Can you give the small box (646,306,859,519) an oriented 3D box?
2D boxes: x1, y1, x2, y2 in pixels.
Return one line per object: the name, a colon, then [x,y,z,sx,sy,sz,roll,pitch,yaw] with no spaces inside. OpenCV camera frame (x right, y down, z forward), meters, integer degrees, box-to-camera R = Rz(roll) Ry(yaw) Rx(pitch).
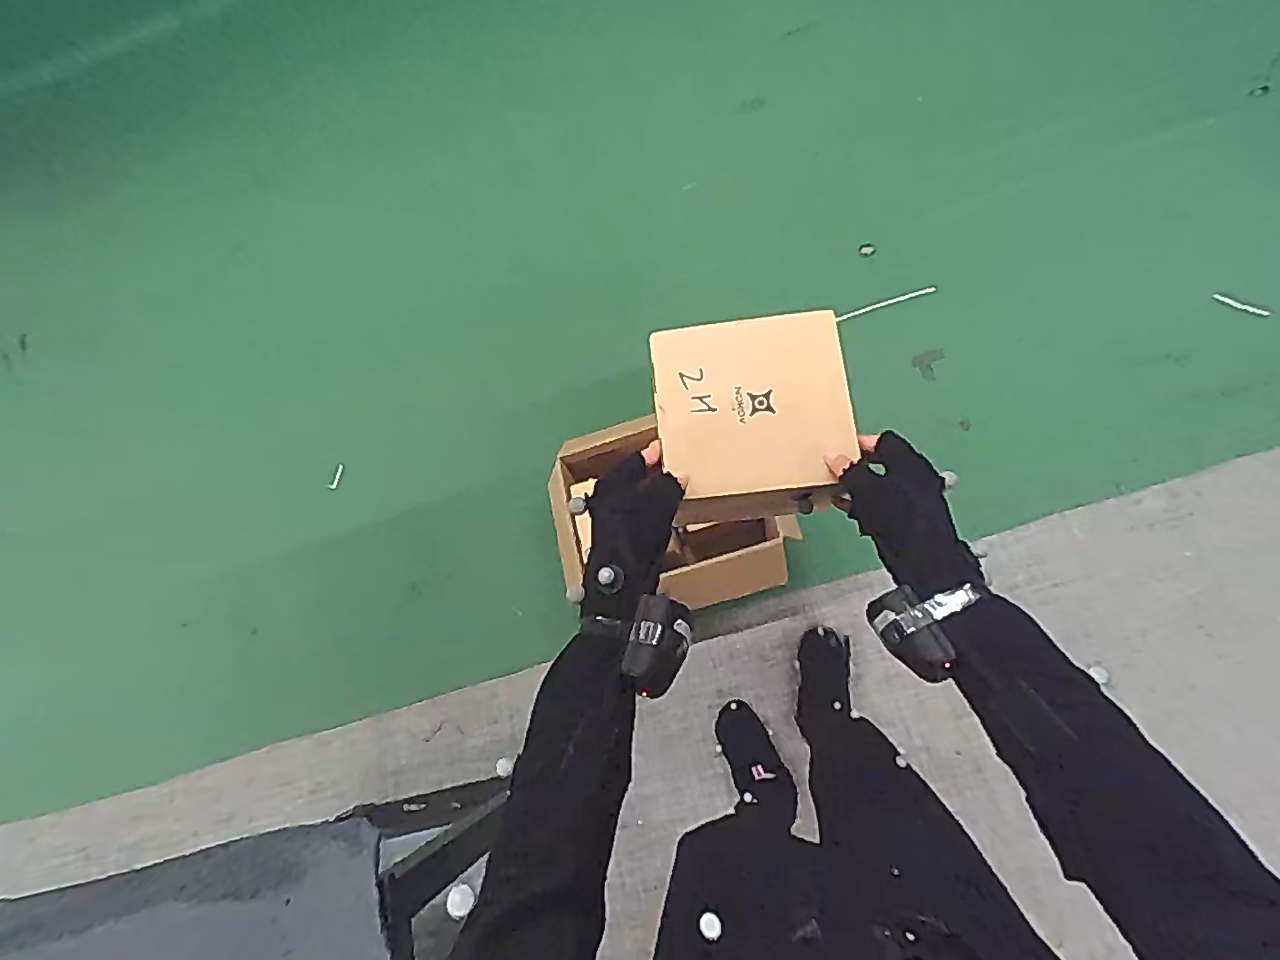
small box: [0.105,-0.057,0.566,0.179,0.176,0.168,-7,77,6]
